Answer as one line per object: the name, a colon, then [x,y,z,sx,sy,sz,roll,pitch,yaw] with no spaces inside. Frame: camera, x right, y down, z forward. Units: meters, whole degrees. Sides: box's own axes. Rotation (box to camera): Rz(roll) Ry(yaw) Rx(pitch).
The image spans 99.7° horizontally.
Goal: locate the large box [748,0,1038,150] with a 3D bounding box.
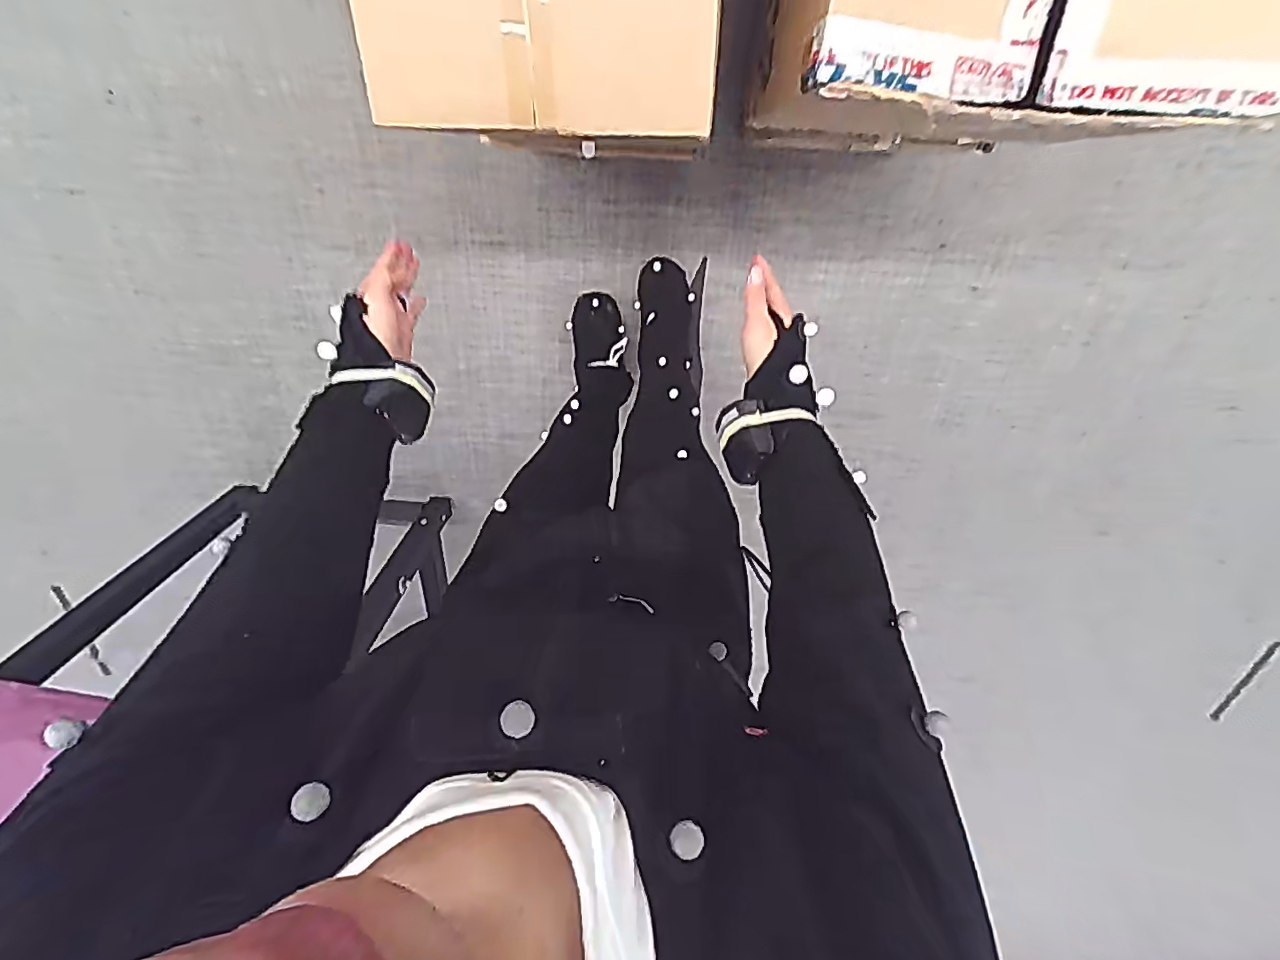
large box: [0.353,-0.724,0.788,0.320,0.320,0.408,2,121,0]
